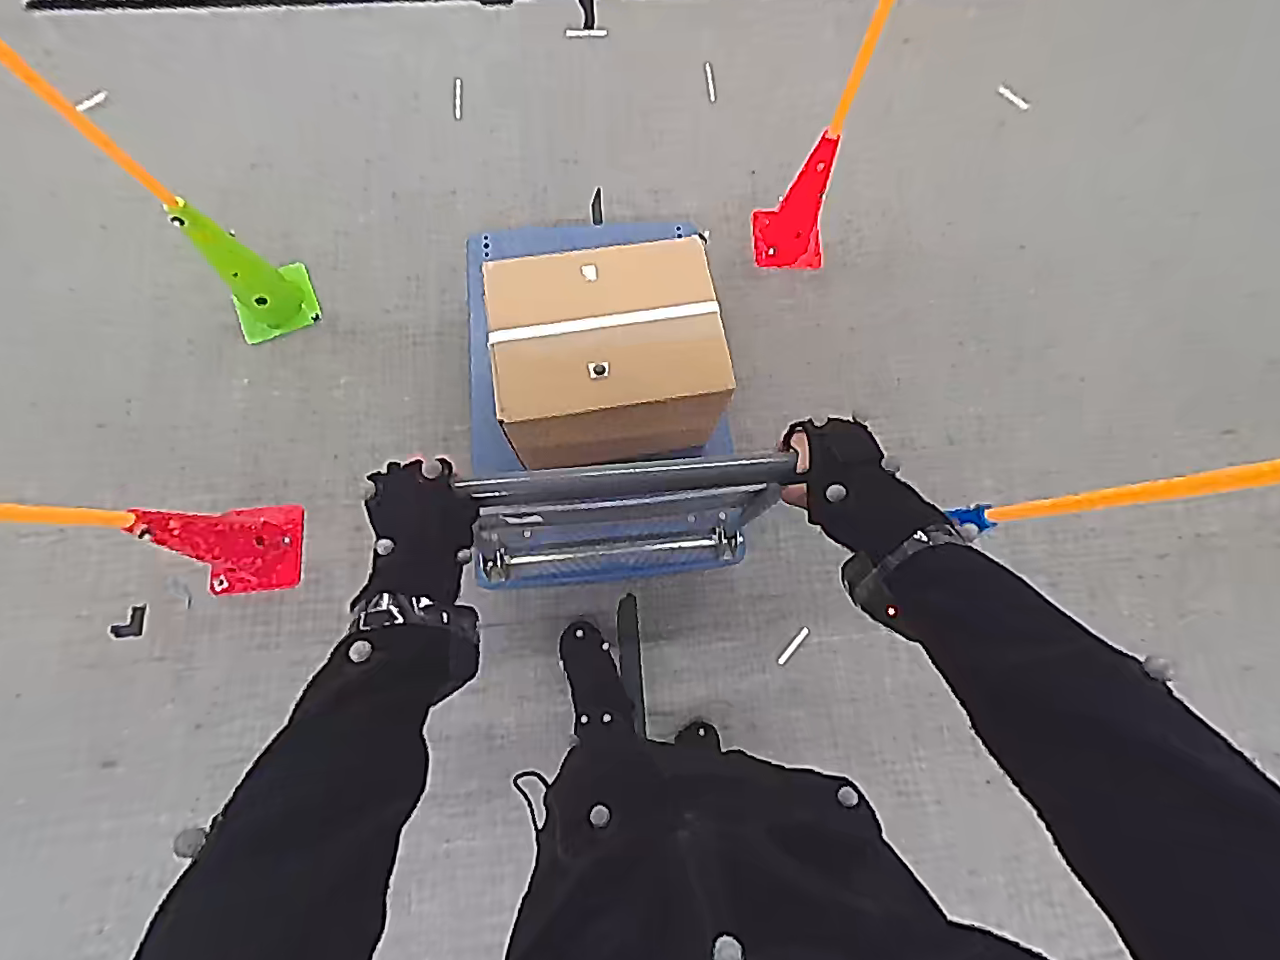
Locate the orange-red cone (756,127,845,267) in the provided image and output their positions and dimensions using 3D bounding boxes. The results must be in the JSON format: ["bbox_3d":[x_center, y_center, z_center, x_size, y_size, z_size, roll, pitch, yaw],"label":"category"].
[{"bbox_3d":[0.448,-0.756,1.416,0.199,0.360,0.198,2,75,-3],"label":"orange-red cone"}]

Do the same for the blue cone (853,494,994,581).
[{"bbox_3d":[0.652,0.106,1.202,0.193,0.380,0.192,-8,74,-5],"label":"blue cone"}]
